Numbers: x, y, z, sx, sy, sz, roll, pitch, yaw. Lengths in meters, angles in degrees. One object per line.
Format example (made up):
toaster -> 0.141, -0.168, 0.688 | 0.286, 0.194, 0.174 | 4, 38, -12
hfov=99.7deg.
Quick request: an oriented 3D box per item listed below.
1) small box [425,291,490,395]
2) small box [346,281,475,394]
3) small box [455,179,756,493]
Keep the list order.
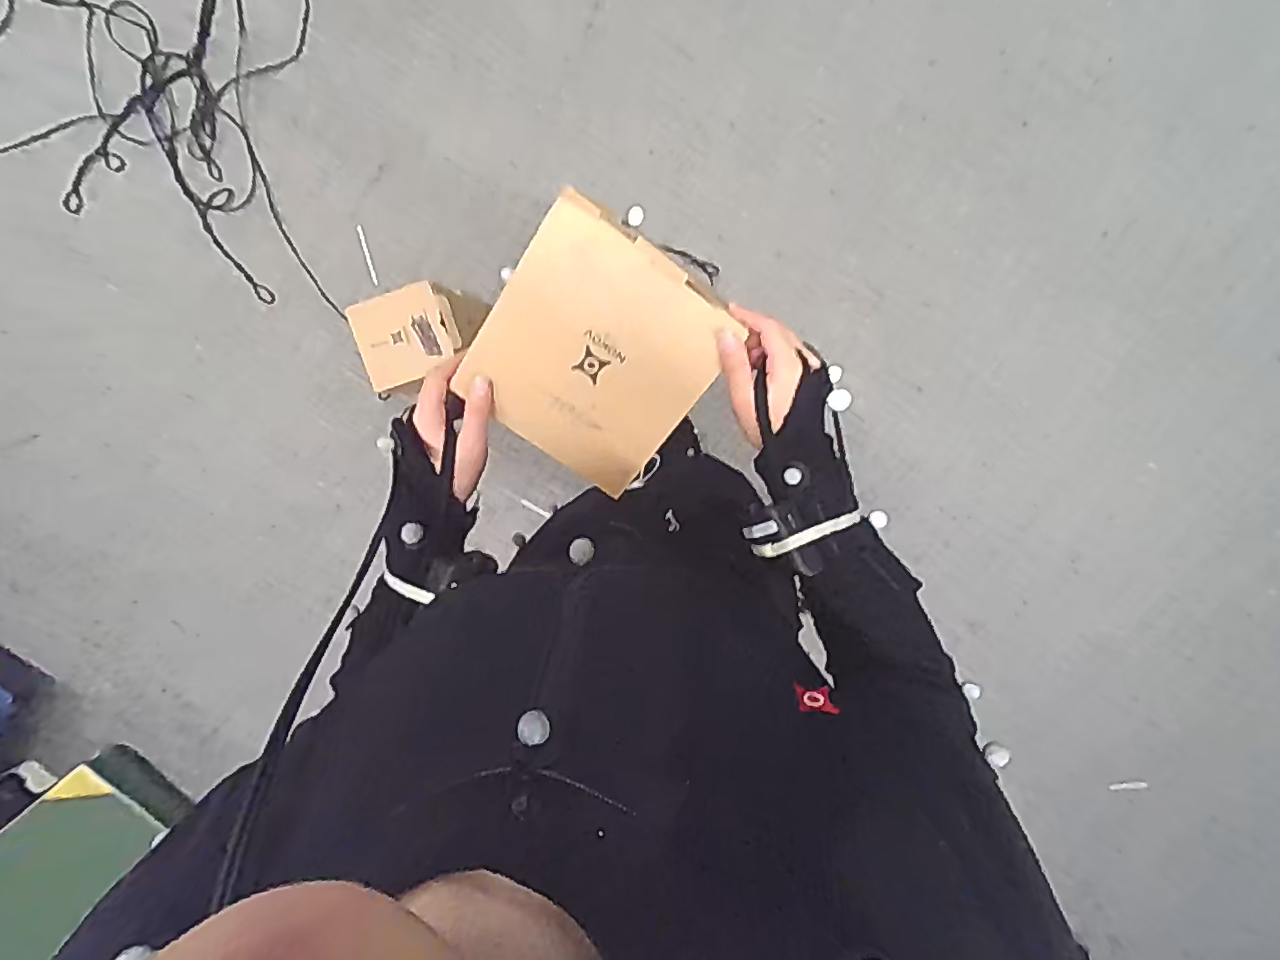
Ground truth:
small box -> -0.419, -0.307, 1.237 | 0.168, 0.176, 0.179 | -22, 97, 5
small box -> -0.434, -0.275, 1.075 | 0.179, 0.176, 0.168 | -16, 97, 5
small box -> -0.026, -0.127, 0.475 | 0.168, 0.176, 0.179 | 34, 113, -11
